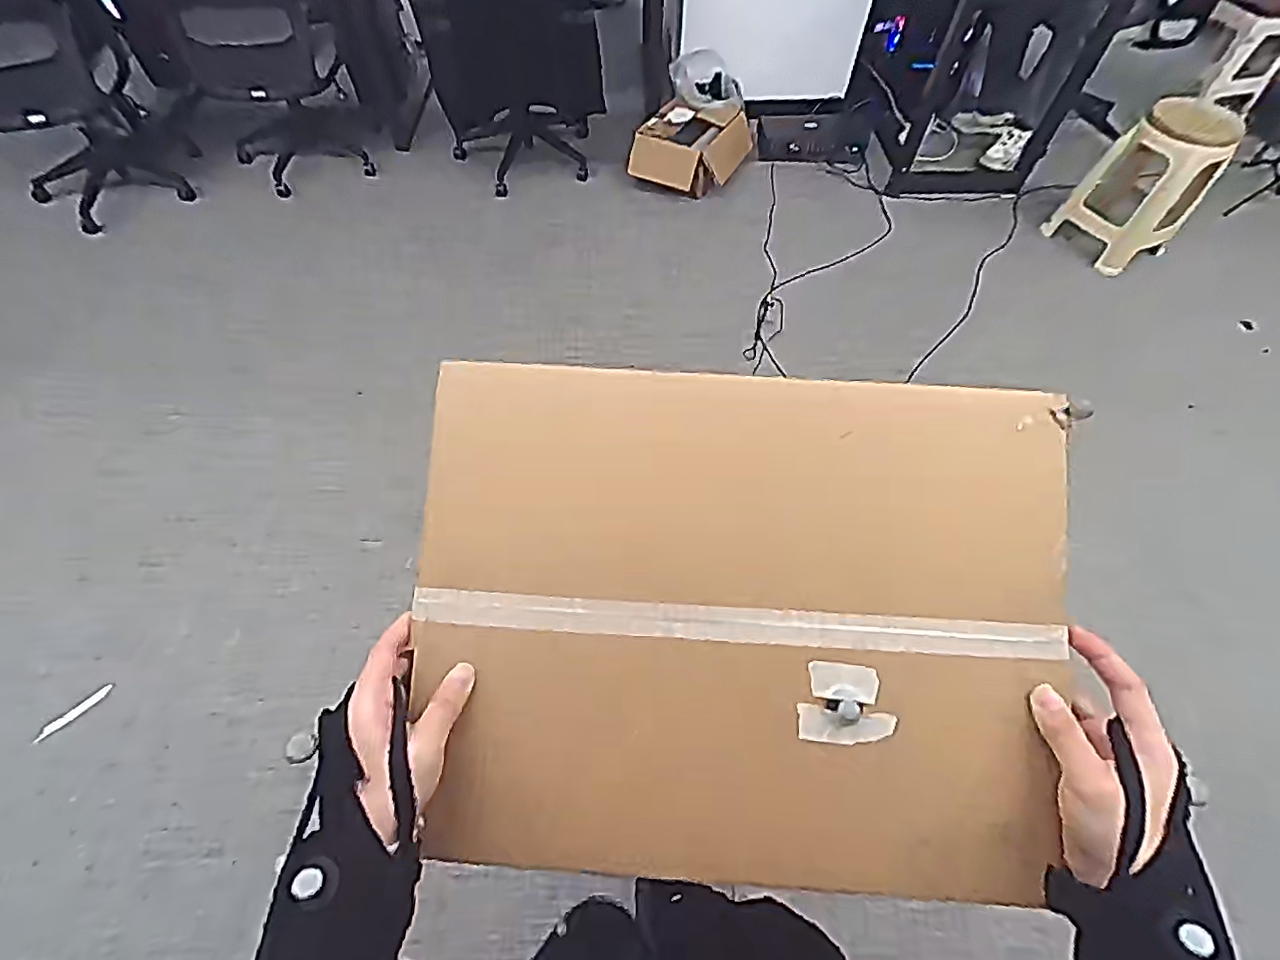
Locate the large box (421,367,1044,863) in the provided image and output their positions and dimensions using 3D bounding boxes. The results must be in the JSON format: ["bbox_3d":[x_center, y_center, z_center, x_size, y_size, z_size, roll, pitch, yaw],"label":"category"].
[{"bbox_3d":[0.062,0.094,0.502,0.408,0.320,0.320,3,86,1],"label":"large box"}]
